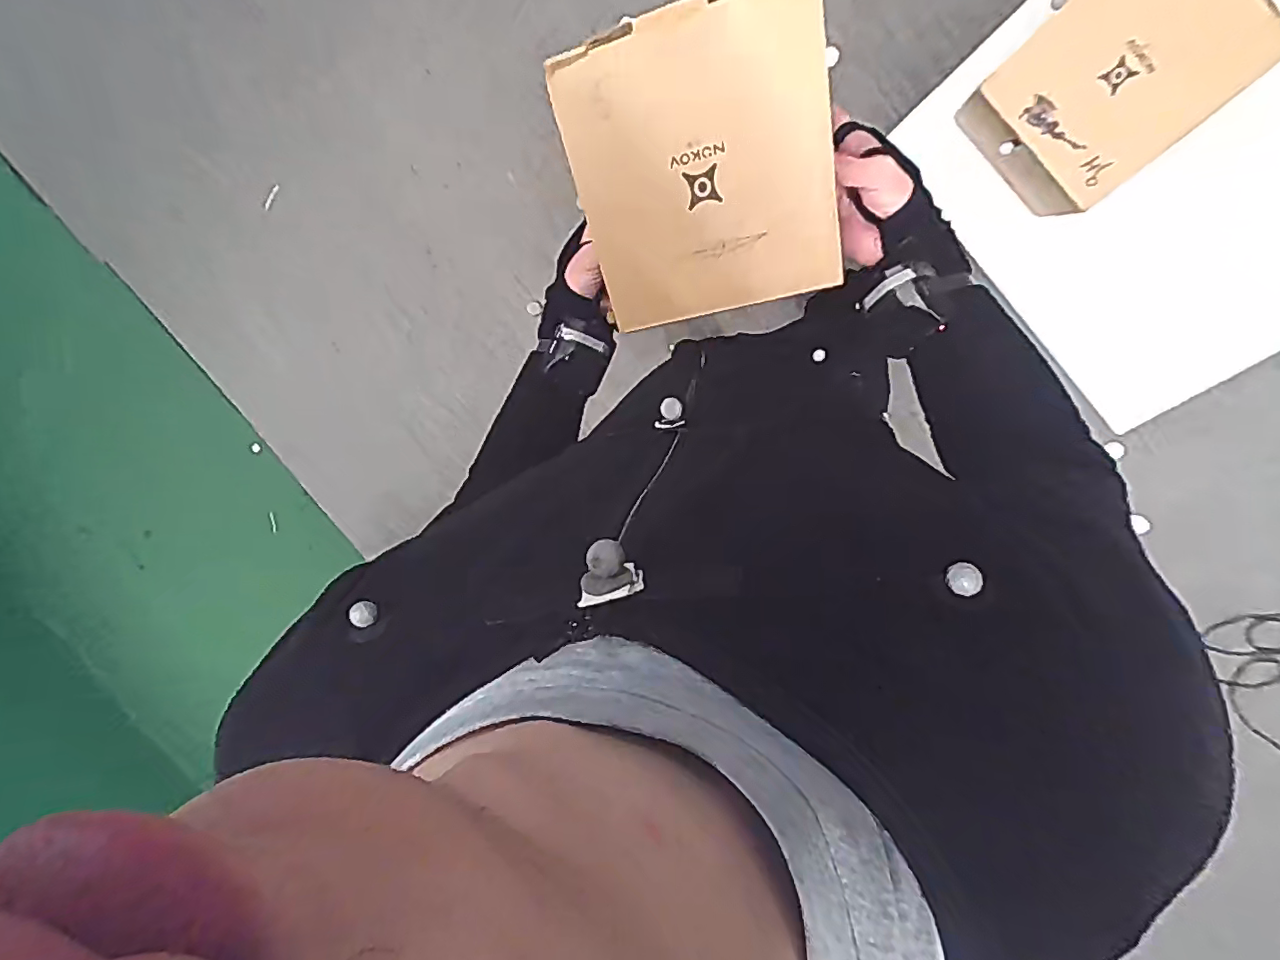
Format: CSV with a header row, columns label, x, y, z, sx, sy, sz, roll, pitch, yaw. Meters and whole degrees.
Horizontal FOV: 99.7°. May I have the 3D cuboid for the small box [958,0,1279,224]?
label,x,y,z,sx,sy,sz,roll,pitch,yaw
small box,0.467,-0.393,0.557,0.168,0.176,0.179,48,120,-3

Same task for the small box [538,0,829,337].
label,x,y,z,sx,sy,sz,roll,pitch,yaw
small box,0.046,-0.235,0.419,0.168,0.176,0.179,-7,123,17
